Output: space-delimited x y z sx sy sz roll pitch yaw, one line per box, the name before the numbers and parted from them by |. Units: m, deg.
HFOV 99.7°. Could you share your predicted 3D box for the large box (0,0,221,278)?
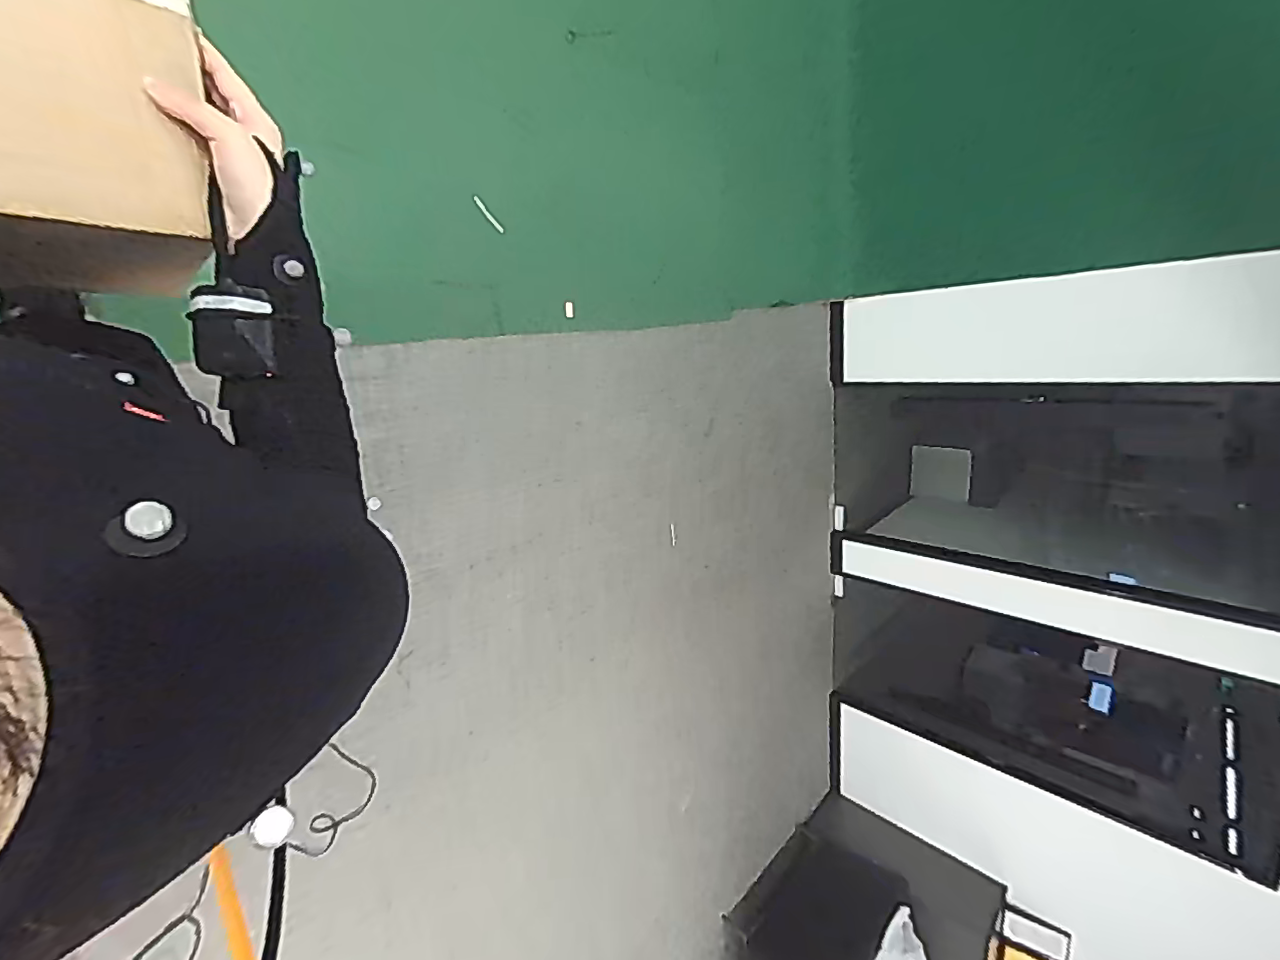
large box | -0.569 -0.329 0.343 0.408 0.320 0.320 -13 106 -46
